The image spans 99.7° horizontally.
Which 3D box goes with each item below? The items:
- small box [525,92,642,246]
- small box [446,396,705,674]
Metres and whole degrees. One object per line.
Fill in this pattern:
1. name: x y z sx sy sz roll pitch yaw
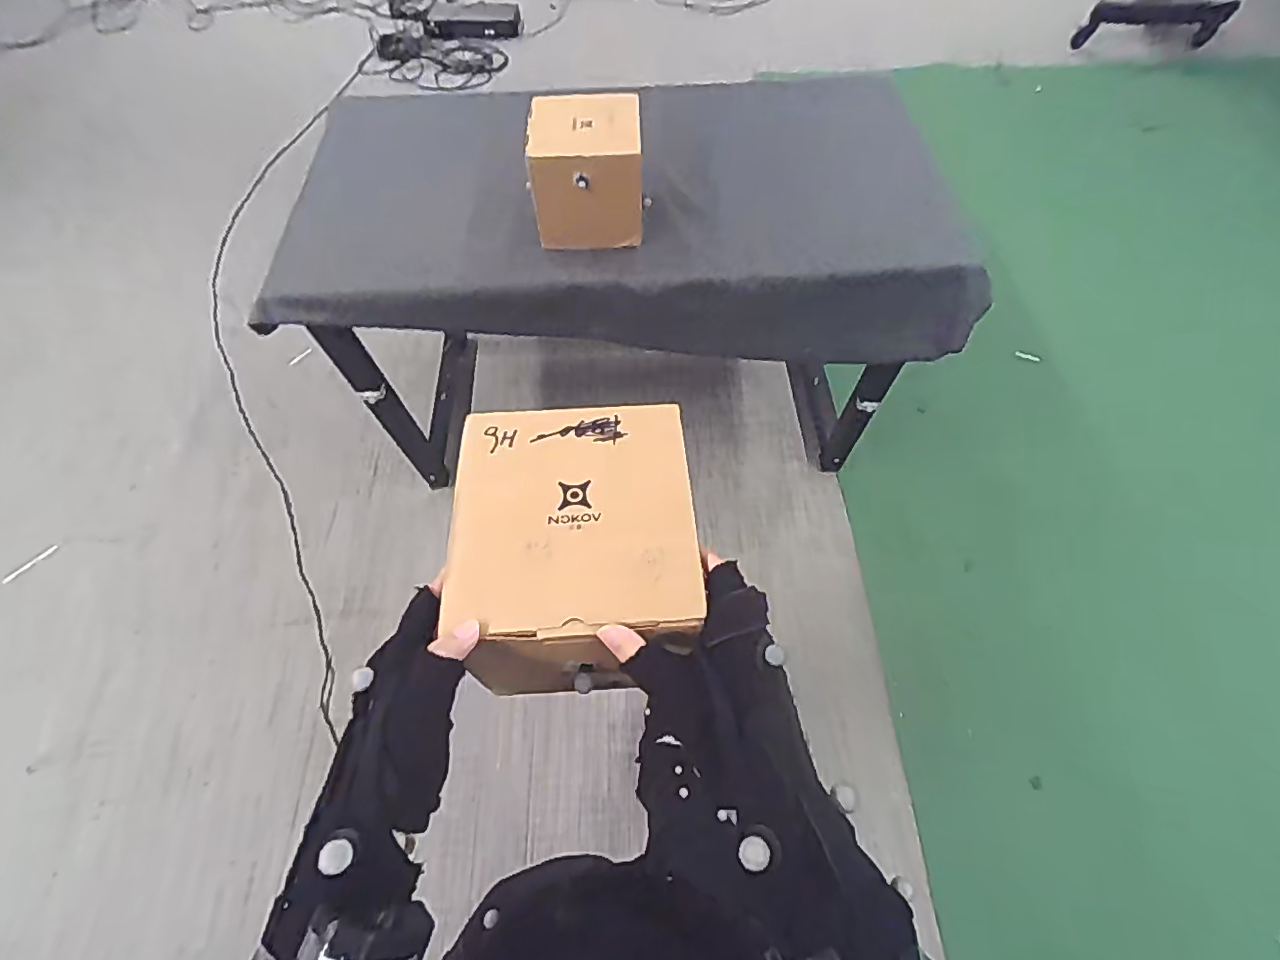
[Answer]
1. small box: -0.087 -0.515 0.909 0.179 0.176 0.168 -2 63 -1
2. small box: -0.044 0.055 0.443 0.168 0.176 0.179 -3 59 -3
